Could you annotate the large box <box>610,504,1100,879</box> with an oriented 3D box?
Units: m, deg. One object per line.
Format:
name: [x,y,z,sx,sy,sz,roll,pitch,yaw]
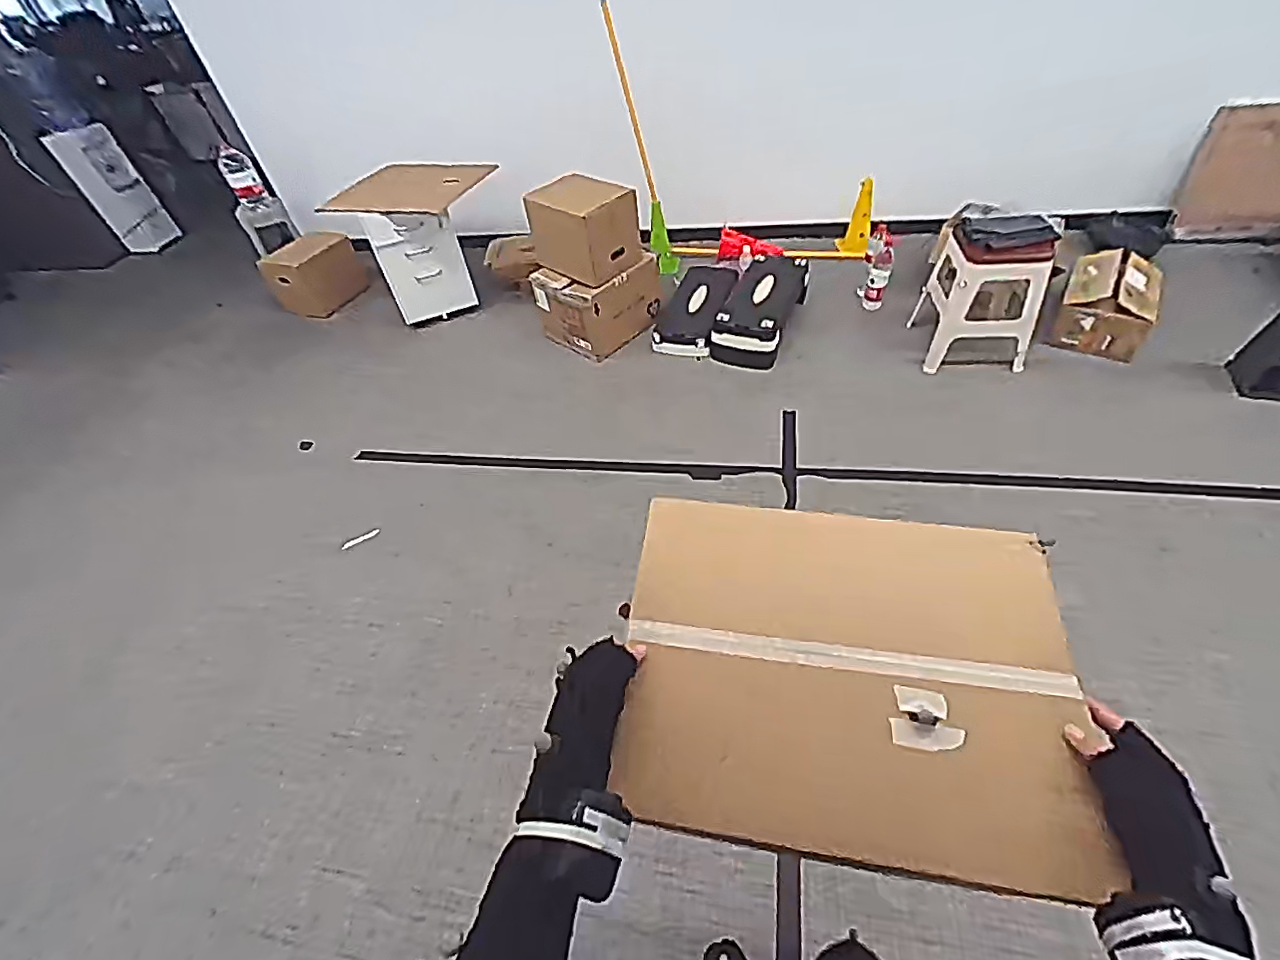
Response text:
large box: [0.197,0.253,0.652,0.408,0.320,0.320,6,58,8]
